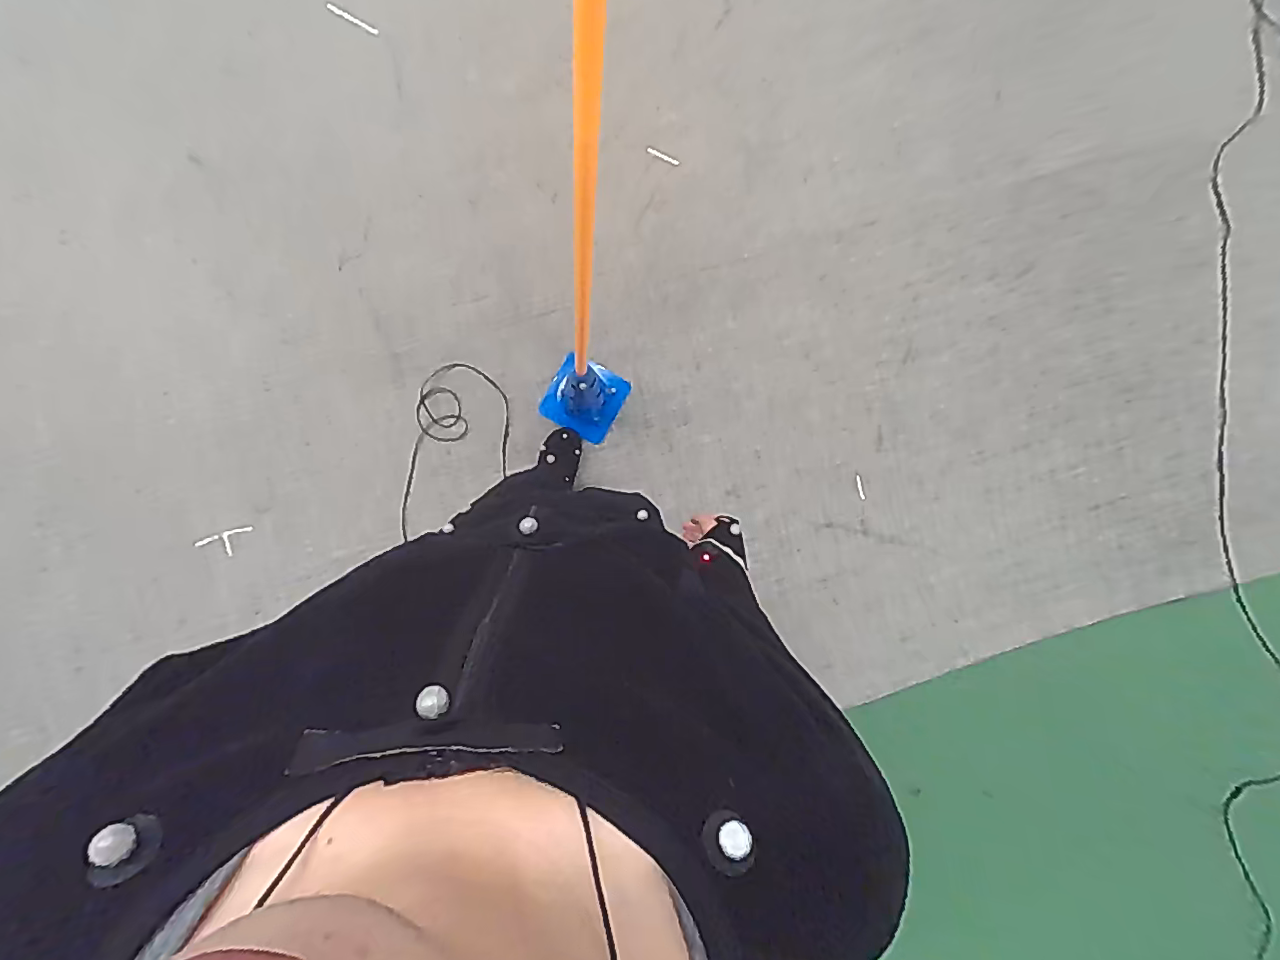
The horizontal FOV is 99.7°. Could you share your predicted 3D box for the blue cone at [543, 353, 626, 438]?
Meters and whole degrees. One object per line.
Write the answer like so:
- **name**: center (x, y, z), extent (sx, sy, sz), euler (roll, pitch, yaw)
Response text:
- **blue cone**: center (-0.137, -0.236, 1.307), extent (0.192, 0.380, 0.193), euler (28, 86, -4)
